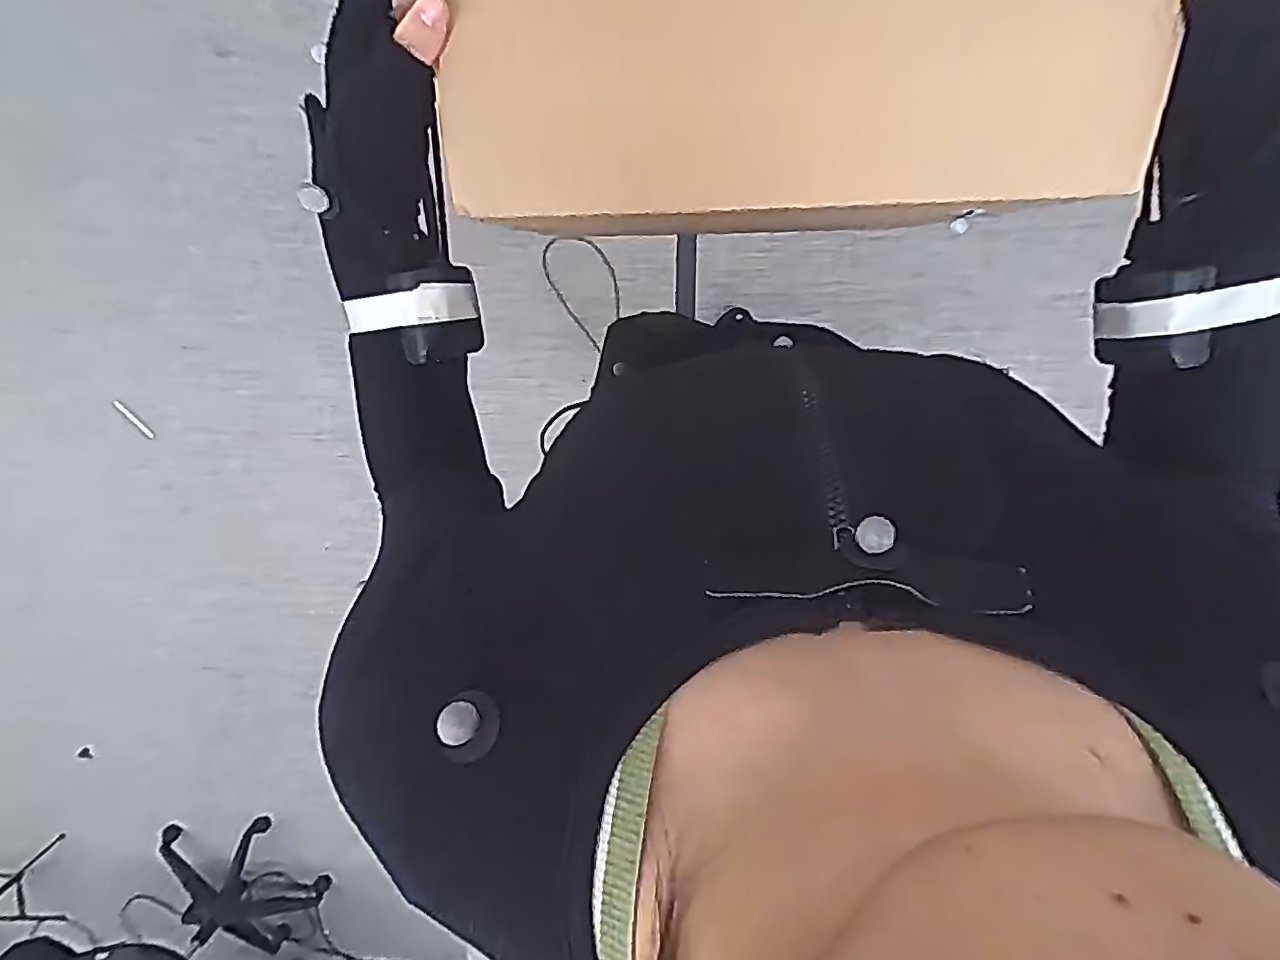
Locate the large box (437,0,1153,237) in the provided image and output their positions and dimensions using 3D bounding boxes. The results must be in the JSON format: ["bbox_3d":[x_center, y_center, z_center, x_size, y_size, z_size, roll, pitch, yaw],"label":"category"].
[{"bbox_3d":[0.088,-0.367,0.419,0.408,0.320,0.320,-1,111,2],"label":"large box"}]
